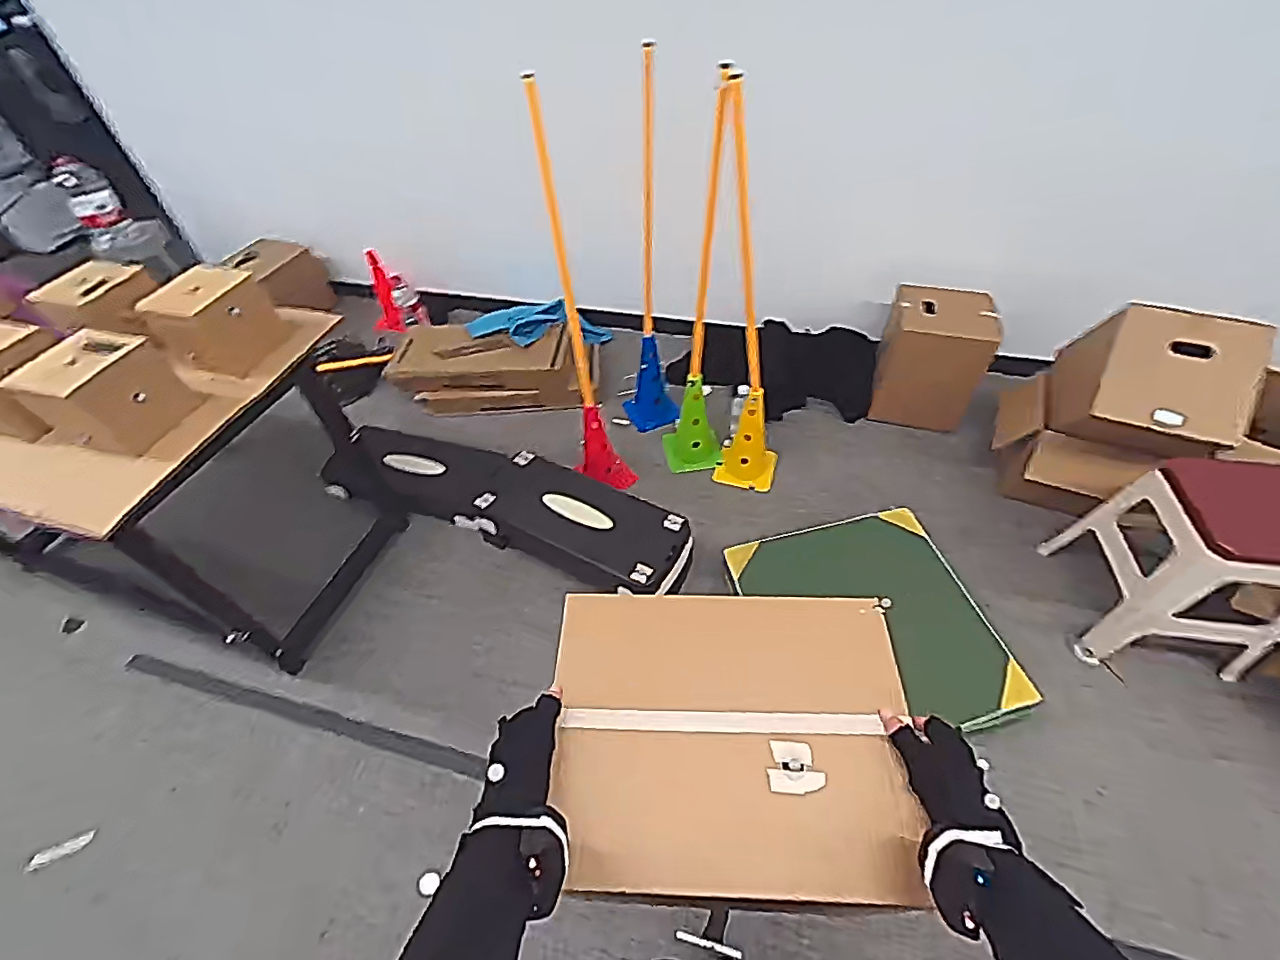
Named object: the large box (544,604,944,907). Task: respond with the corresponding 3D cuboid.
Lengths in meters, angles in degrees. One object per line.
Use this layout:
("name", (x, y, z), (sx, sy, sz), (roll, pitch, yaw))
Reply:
("large box", (0.105, 0.381, 0.738), (0.408, 0.320, 0.320), (0, 51, 2))
